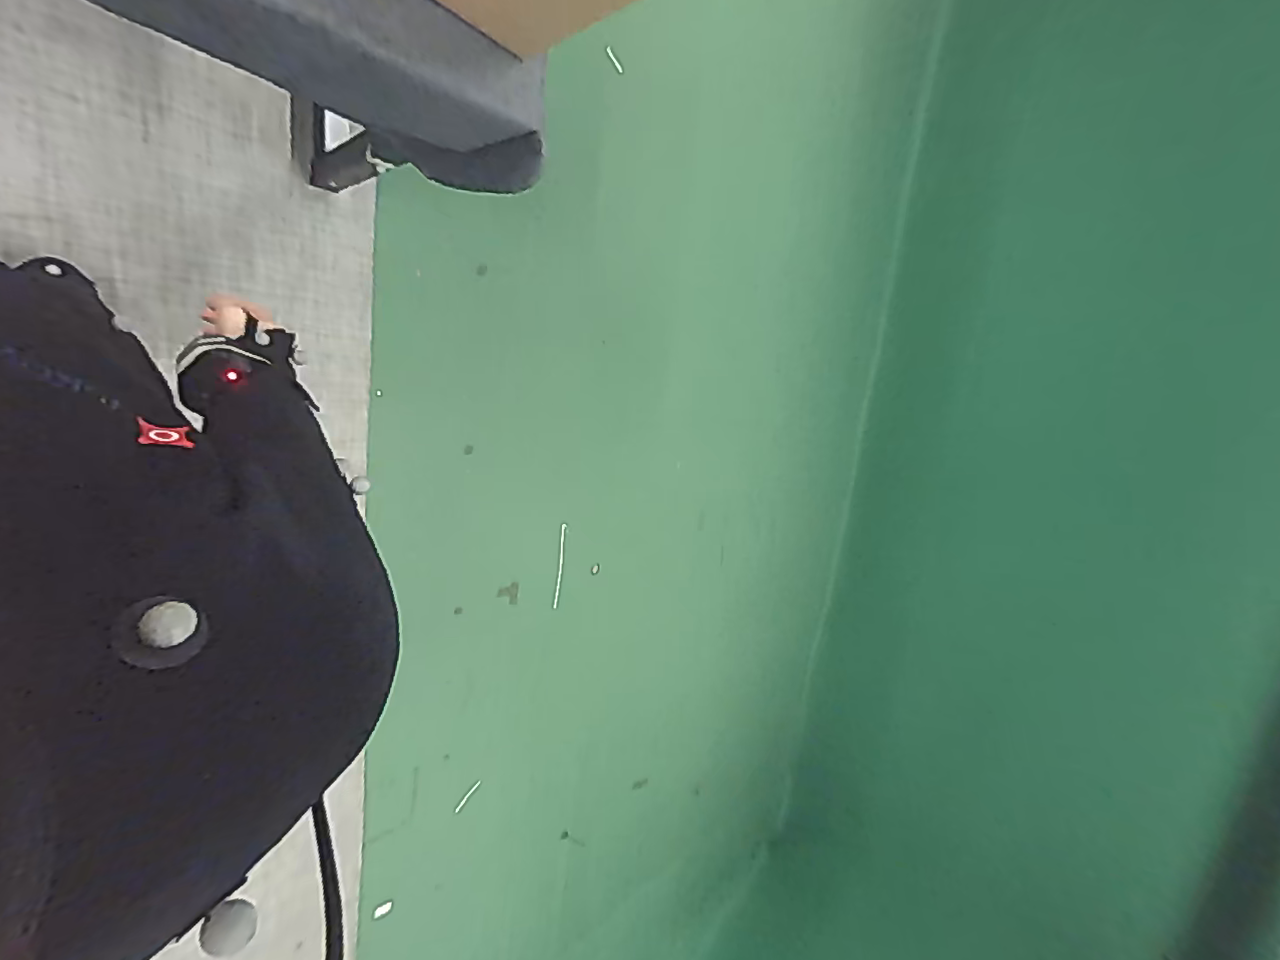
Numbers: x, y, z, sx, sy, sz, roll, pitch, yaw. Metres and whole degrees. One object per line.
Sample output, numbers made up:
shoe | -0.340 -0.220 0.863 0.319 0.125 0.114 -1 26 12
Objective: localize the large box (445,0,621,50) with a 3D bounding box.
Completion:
large box | -0.150 -0.654 0.423 0.408 0.320 0.320 -2 104 -49
